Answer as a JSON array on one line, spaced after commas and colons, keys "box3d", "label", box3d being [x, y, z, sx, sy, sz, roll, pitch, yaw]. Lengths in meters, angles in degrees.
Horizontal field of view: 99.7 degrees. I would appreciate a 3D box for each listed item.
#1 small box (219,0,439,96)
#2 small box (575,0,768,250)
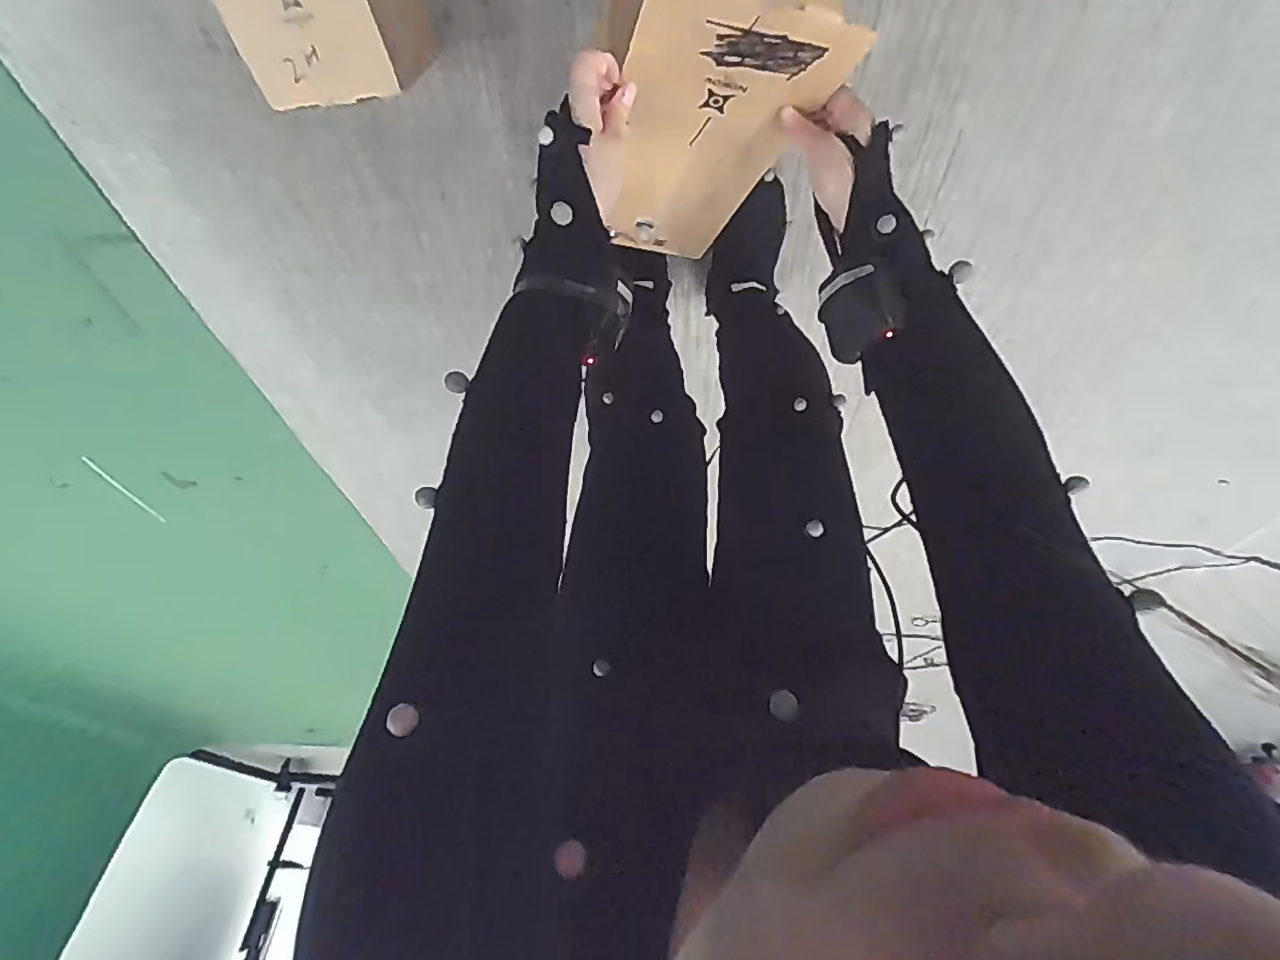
[{"box3d": [-0.349, -0.560, 0.596, 0.168, 0.176, 0.179, -2, 141, 7], "label": "small box"}, {"box3d": [0.024, -0.384, 0.586, 0.168, 0.179, 0.176, 4, 173, -15], "label": "small box"}]
